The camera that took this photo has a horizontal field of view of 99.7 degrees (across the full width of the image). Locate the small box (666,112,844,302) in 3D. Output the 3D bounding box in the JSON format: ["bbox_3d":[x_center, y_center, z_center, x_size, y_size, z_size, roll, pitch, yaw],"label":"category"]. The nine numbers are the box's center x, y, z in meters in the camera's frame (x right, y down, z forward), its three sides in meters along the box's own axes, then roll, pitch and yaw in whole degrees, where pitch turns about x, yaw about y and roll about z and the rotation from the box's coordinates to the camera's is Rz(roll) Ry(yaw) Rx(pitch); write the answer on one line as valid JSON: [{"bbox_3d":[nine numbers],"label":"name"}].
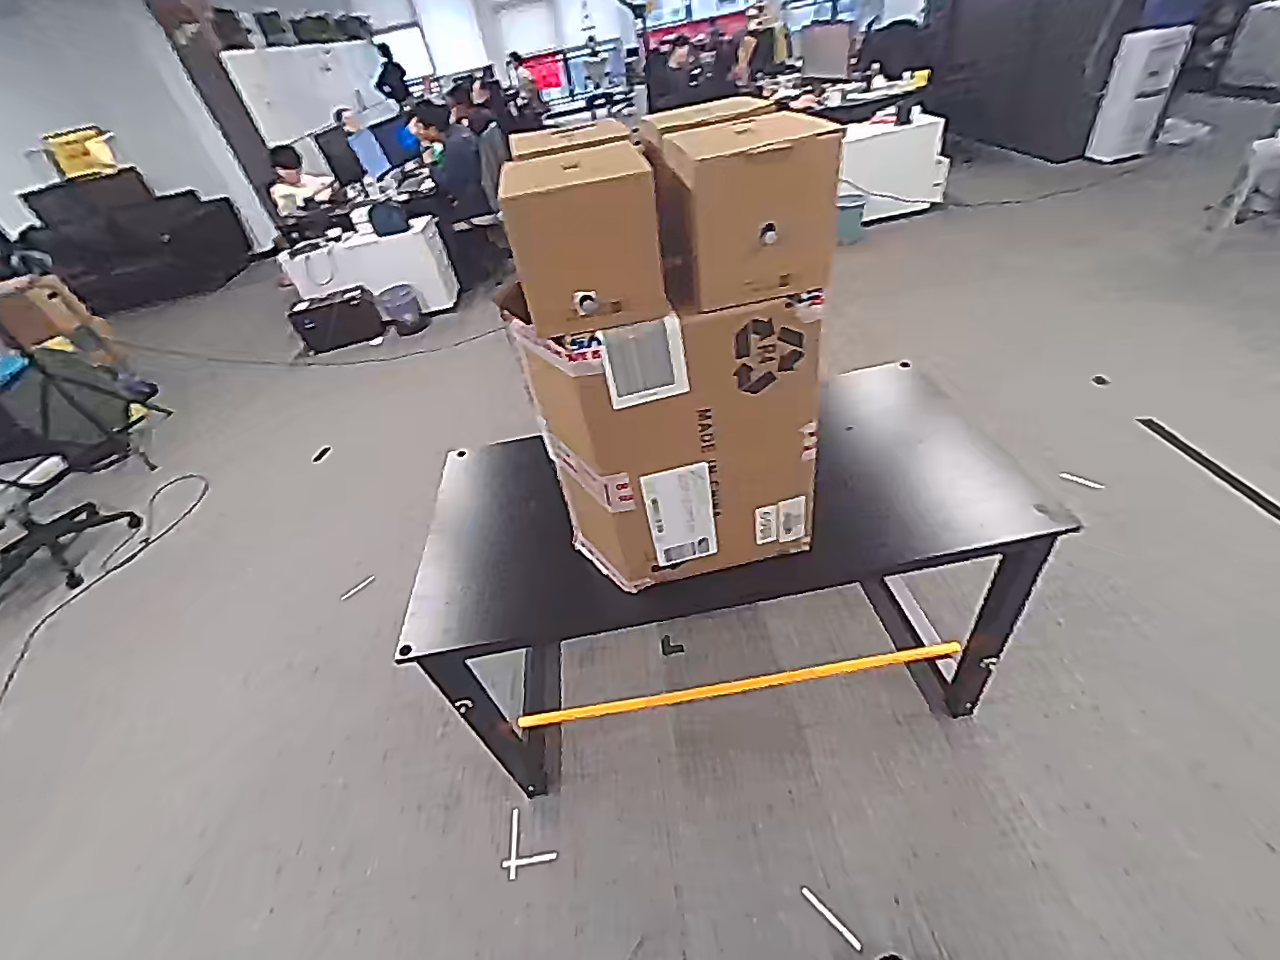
[{"bbox_3d":[0.133,-0.335,0.676,0.168,0.176,0.179,-11,42,-2],"label":"small box"}]
